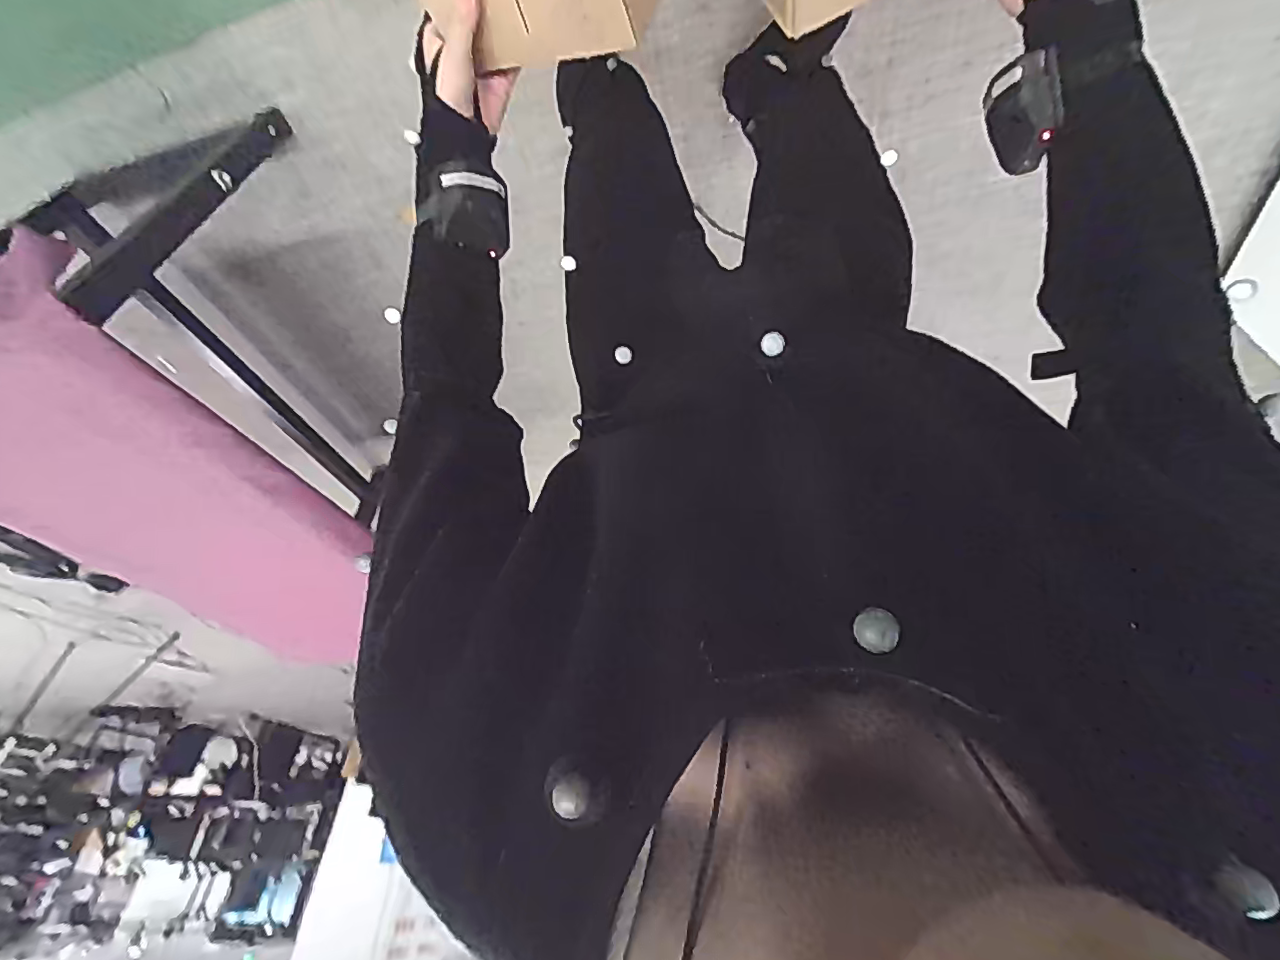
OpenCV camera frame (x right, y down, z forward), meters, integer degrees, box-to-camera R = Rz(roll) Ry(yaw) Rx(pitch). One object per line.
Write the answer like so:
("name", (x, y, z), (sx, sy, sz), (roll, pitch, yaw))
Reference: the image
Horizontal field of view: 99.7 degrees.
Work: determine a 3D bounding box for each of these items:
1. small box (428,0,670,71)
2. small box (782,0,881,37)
("small box", (-0.067, -0.426, 0.359), (0.168, 0.176, 0.179), (13, 165, 24))
("small box", (0.143, -0.441, 0.331), (0.179, 0.176, 0.168), (-24, 161, 6))
